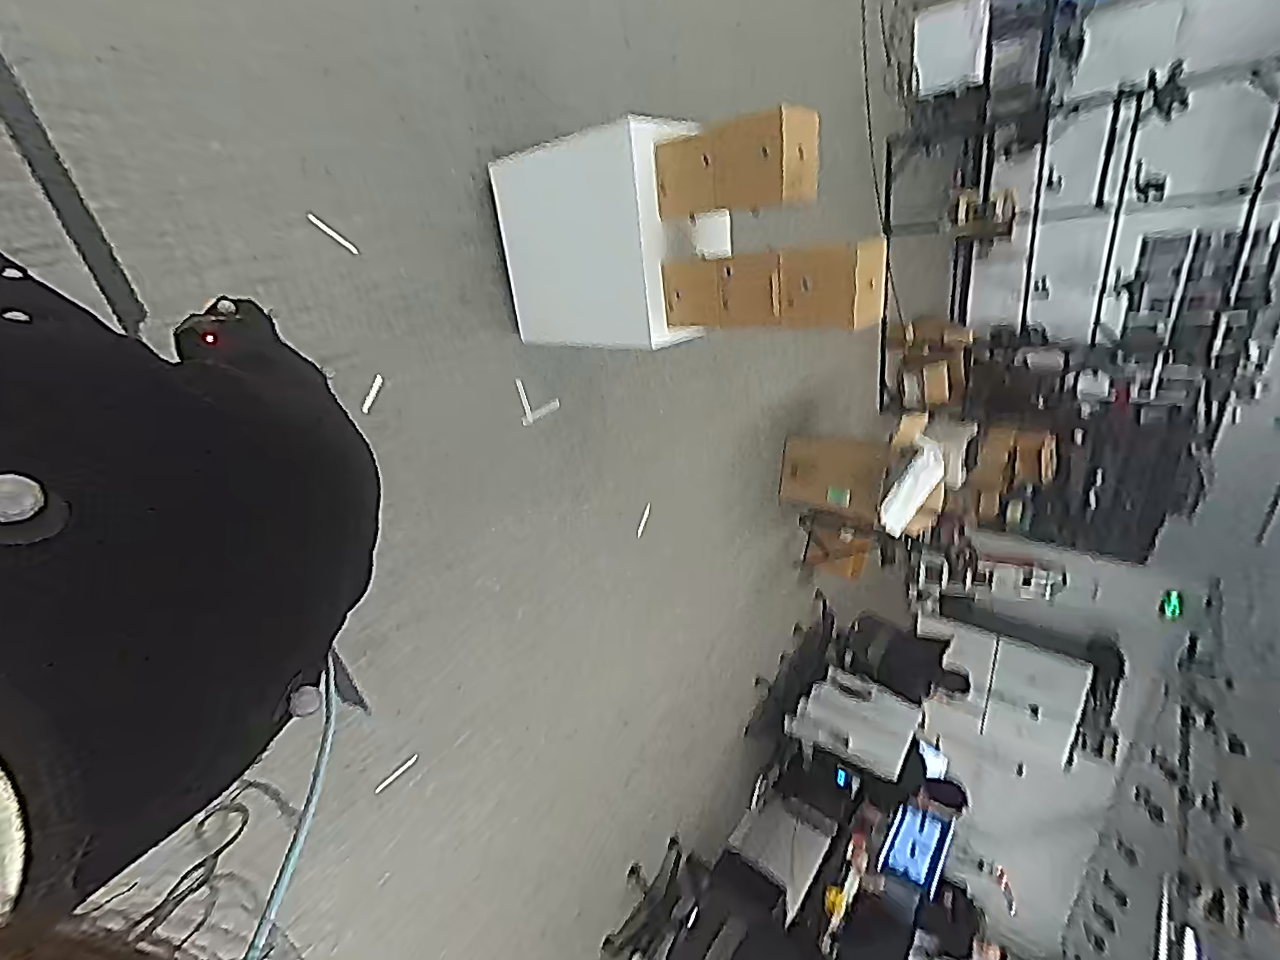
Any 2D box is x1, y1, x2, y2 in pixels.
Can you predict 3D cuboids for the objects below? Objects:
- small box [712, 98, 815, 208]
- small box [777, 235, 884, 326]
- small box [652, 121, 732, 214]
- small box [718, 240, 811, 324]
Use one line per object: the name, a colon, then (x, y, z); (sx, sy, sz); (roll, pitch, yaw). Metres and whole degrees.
small box: (0.270, -0.711, 1.193); (0.168, 0.176, 0.179); (-28, 122, -41)
small box: (0.419, -0.441, 1.194); (0.179, 0.176, 0.168); (-31, 123, -40)
small box: (0.148, -0.743, 1.301); (0.179, 0.176, 0.168); (-29, 122, -43)
small box: (0.298, -0.473, 1.298); (0.179, 0.176, 0.168); (-32, 123, -41)
